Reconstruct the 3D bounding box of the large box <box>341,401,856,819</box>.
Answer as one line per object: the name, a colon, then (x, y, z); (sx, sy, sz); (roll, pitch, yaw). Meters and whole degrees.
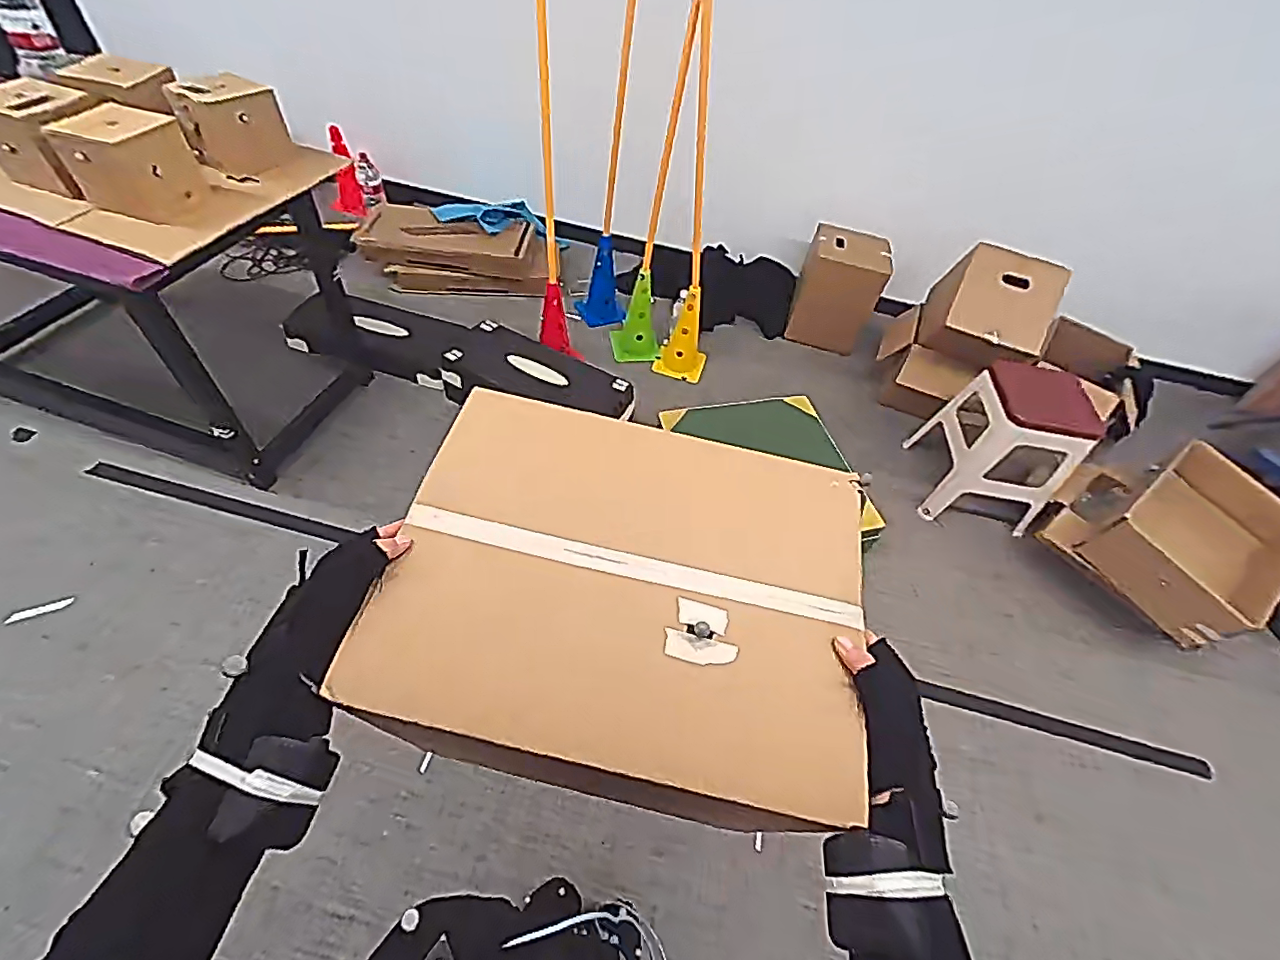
large box: (-0.024, 0.160, 0.607); (0.408, 0.320, 0.320); (13, 57, 1)
